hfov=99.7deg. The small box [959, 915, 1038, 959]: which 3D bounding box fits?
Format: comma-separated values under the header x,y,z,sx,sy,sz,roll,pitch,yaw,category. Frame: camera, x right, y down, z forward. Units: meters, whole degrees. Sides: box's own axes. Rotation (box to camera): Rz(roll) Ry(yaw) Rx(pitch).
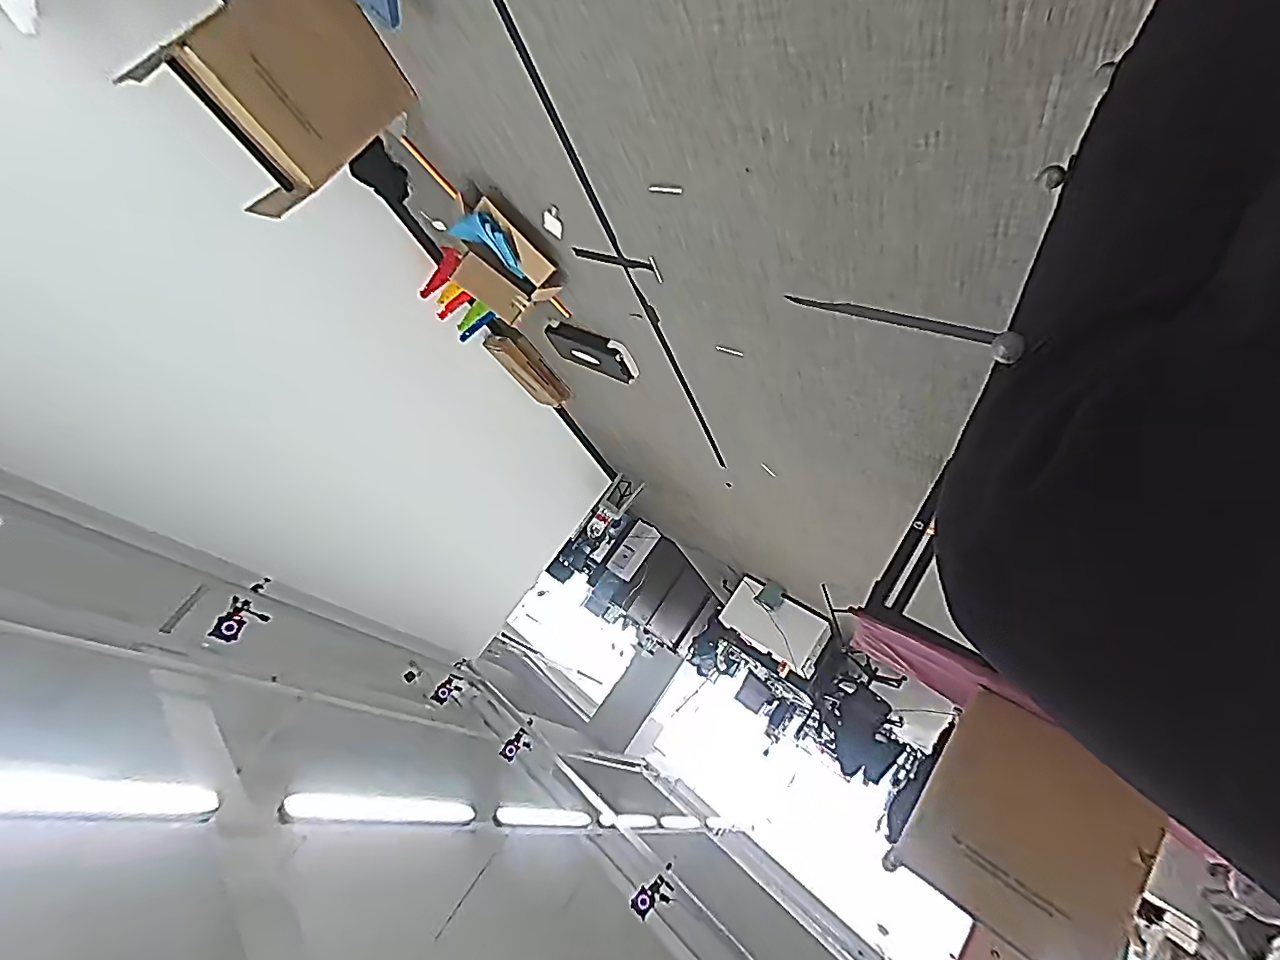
x,y,z,sx,sy,sz,roll,pitch,yaw,category
1.101,1.489,1.659,0.179,0.176,0.168,27,164,40,small box
